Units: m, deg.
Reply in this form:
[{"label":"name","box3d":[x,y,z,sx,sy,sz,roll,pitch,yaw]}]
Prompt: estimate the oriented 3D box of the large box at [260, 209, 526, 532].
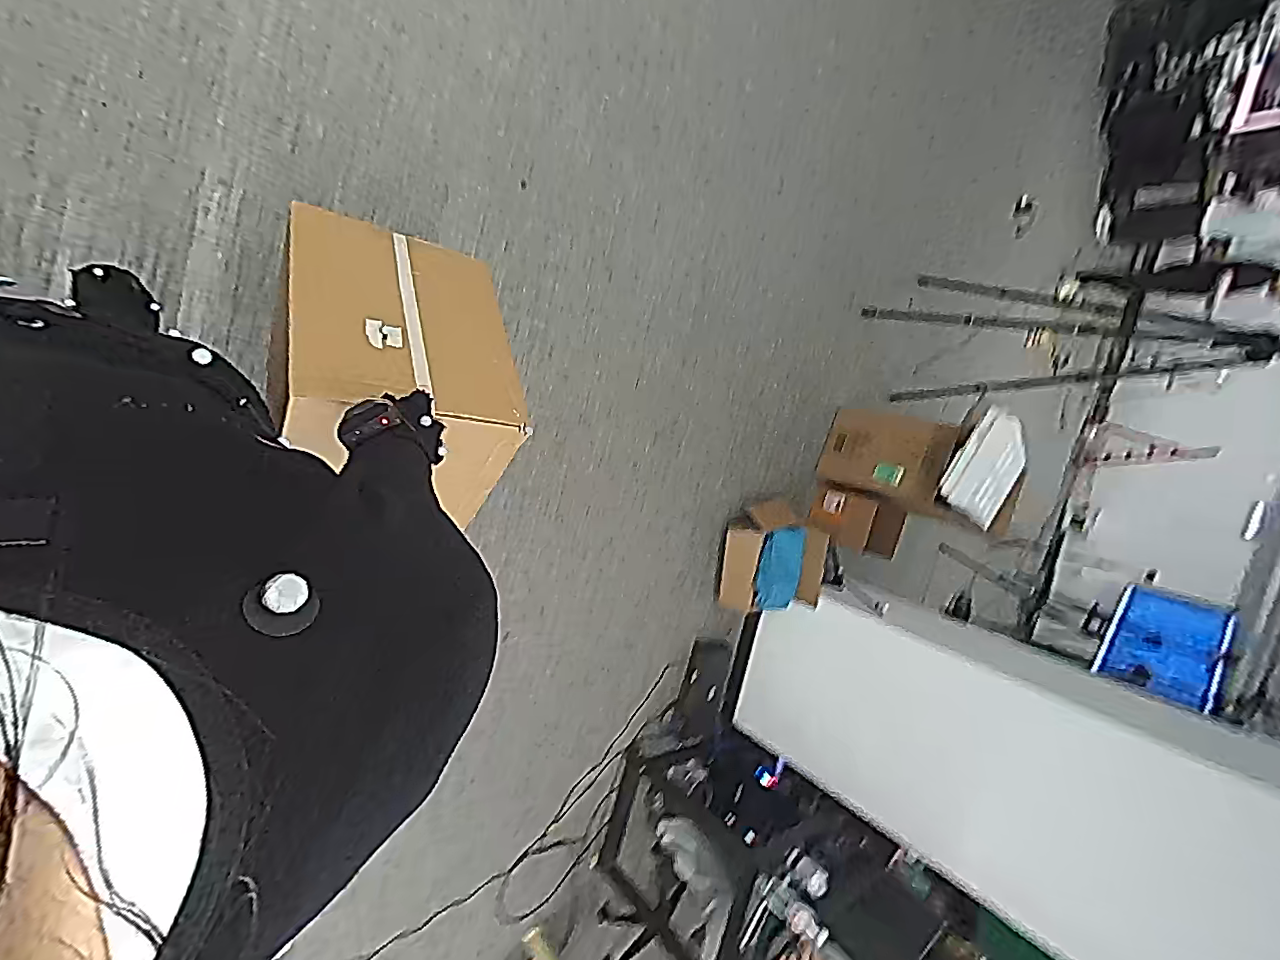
[{"label":"large box","box3d":[-0.439,-0.160,0.916,0.320,0.408,0.320,3,143,-38]}]
